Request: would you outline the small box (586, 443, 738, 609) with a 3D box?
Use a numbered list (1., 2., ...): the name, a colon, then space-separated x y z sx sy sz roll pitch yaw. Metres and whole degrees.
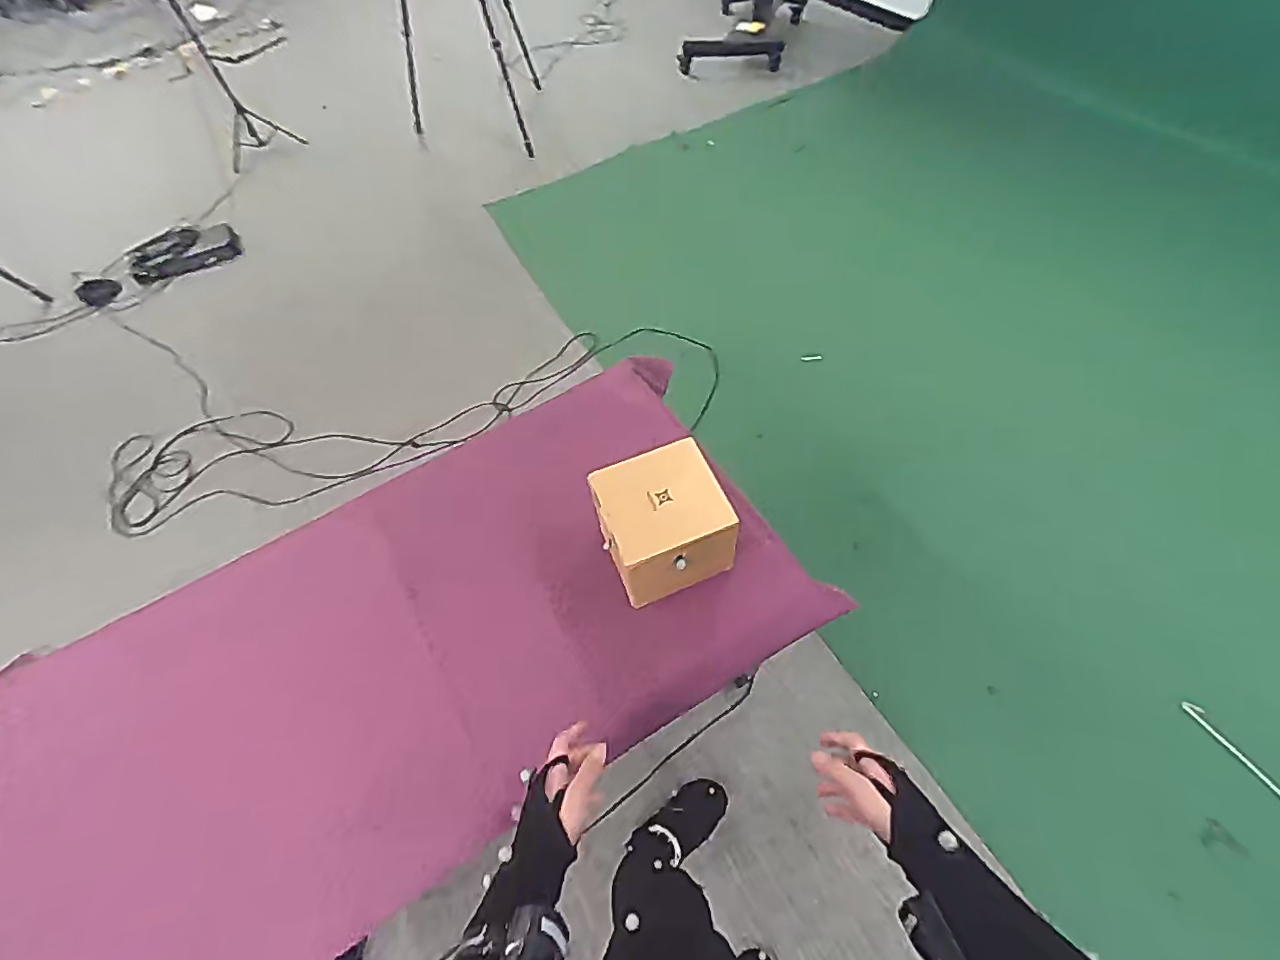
1. small box: 0.033 0.076 0.843 0.179 0.176 0.168 -22 59 -7
